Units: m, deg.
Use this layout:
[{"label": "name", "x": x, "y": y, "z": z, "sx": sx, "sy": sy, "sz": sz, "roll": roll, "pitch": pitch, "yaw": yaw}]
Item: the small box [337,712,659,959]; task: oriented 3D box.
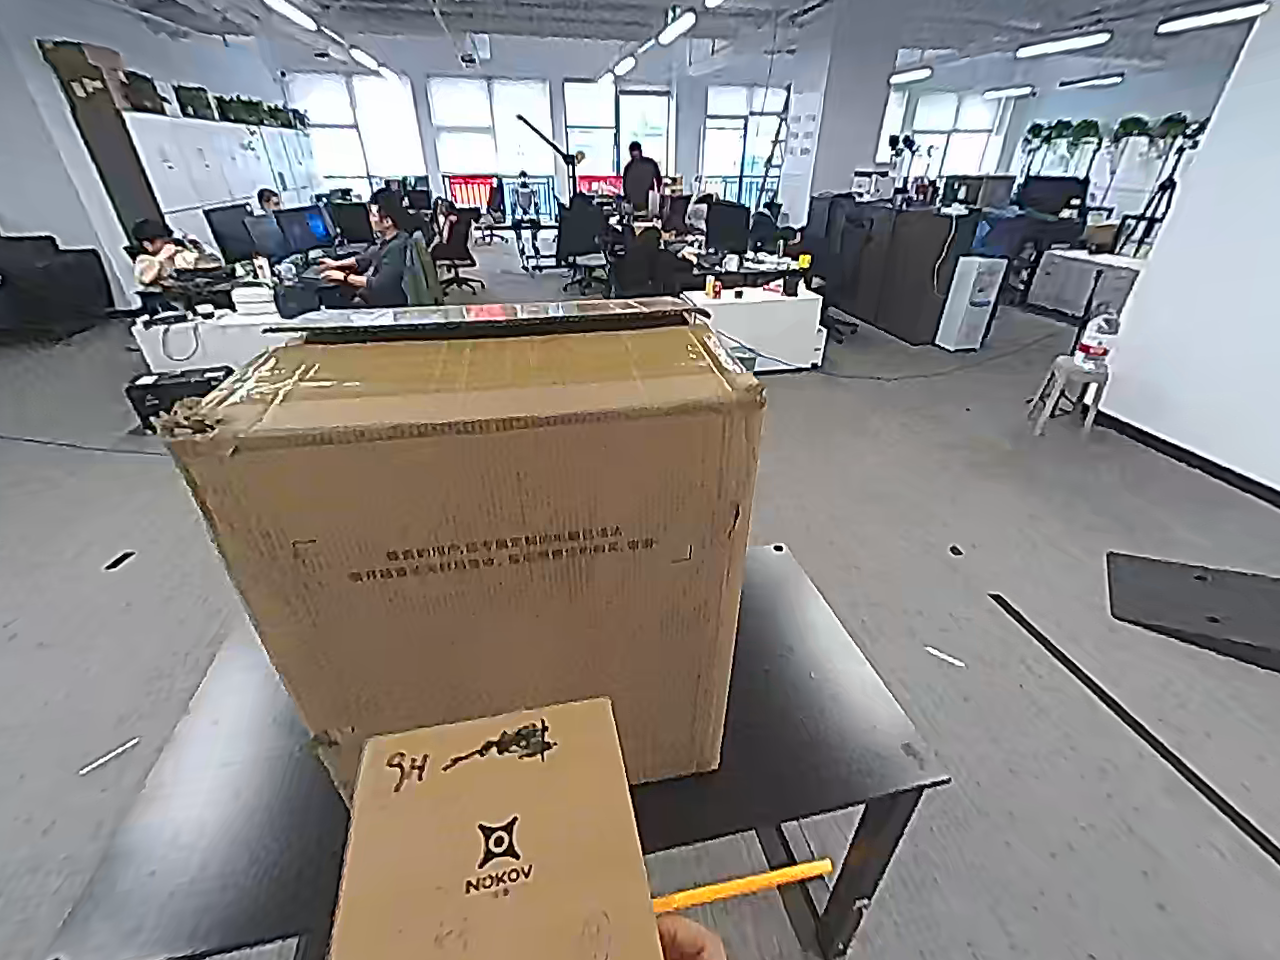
[{"label": "small box", "x": -0.086, "y": 0.290, "z": 0.358, "sx": 0.168, "sy": 0.176, "sz": 0.179, "roll": -5, "pitch": 39, "yaw": -14}]
